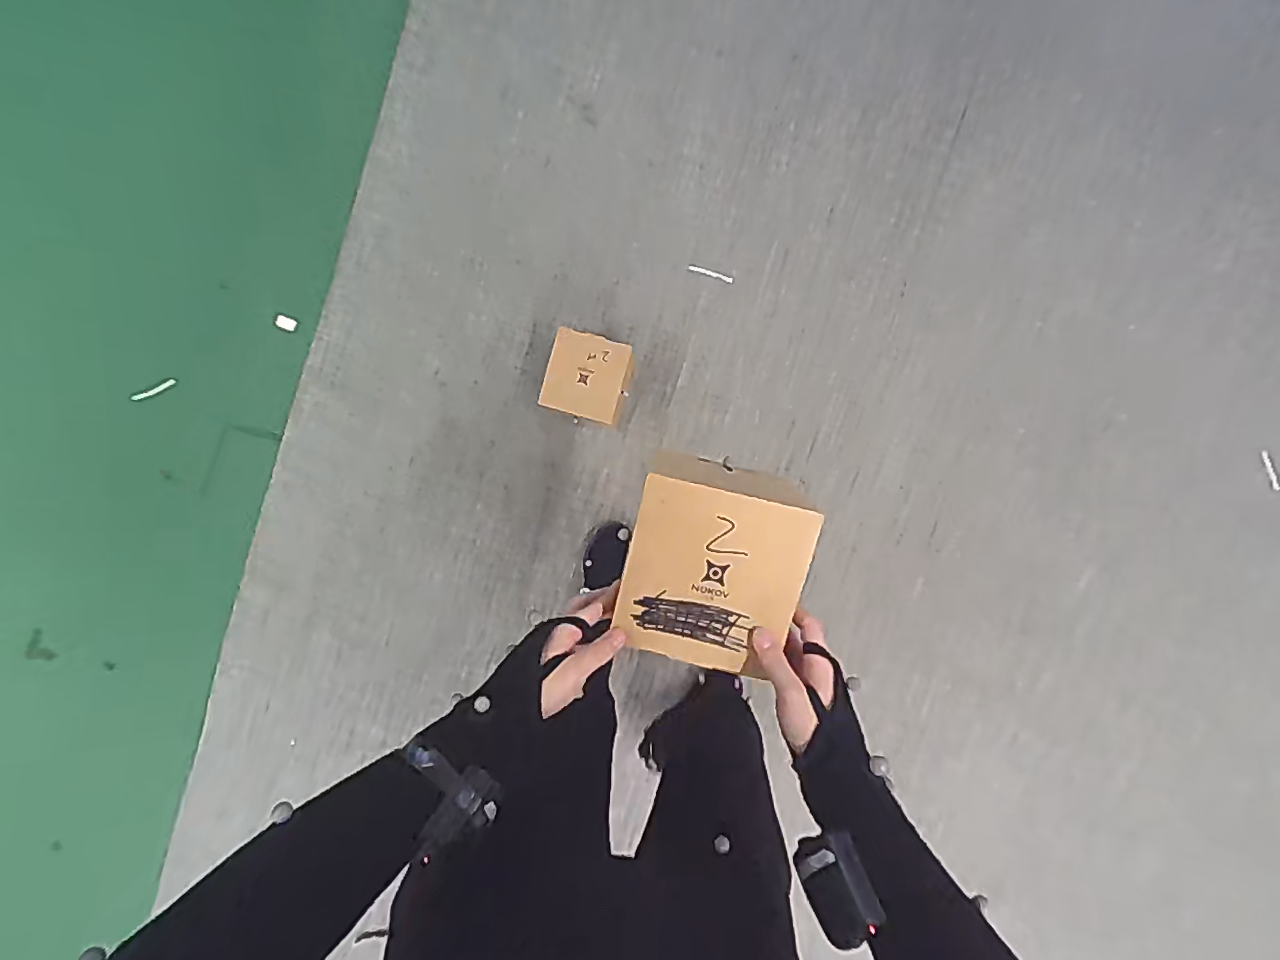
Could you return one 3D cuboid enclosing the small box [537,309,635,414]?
[{"bbox_3d":[-0.111,-0.253,1.205,0.168,0.176,0.179,18,93,0],"label":"small box"}]
